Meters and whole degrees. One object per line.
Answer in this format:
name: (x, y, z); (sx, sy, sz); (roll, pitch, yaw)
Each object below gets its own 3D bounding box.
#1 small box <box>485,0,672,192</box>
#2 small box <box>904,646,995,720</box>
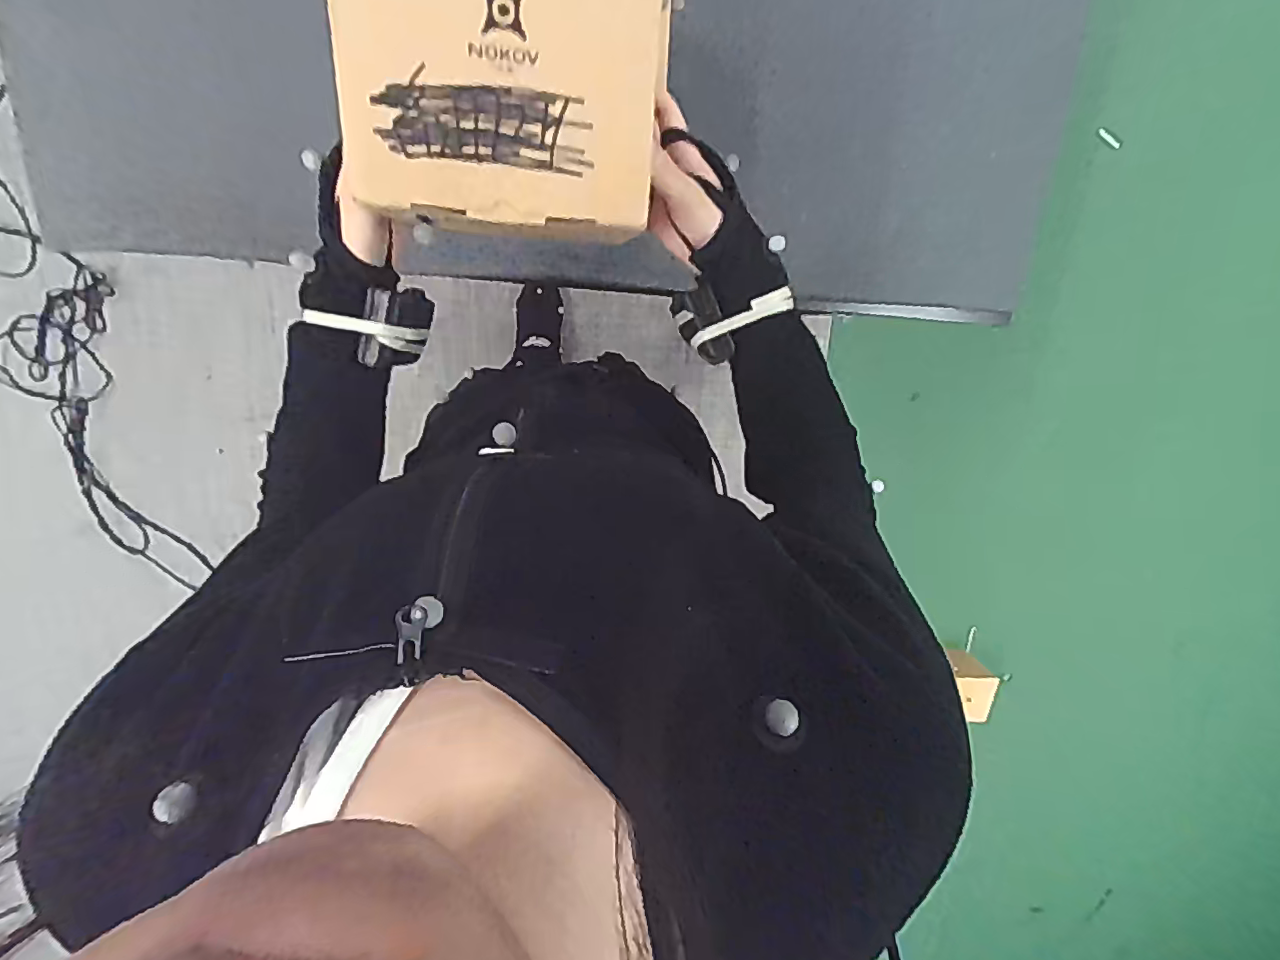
small box: (-0.064, -0.419, 0.556); (0.168, 0.176, 0.179); (1, 106, -7)
small box: (1.013, 0.667, 1.785); (0.179, 0.176, 0.168); (3, 106, -8)
